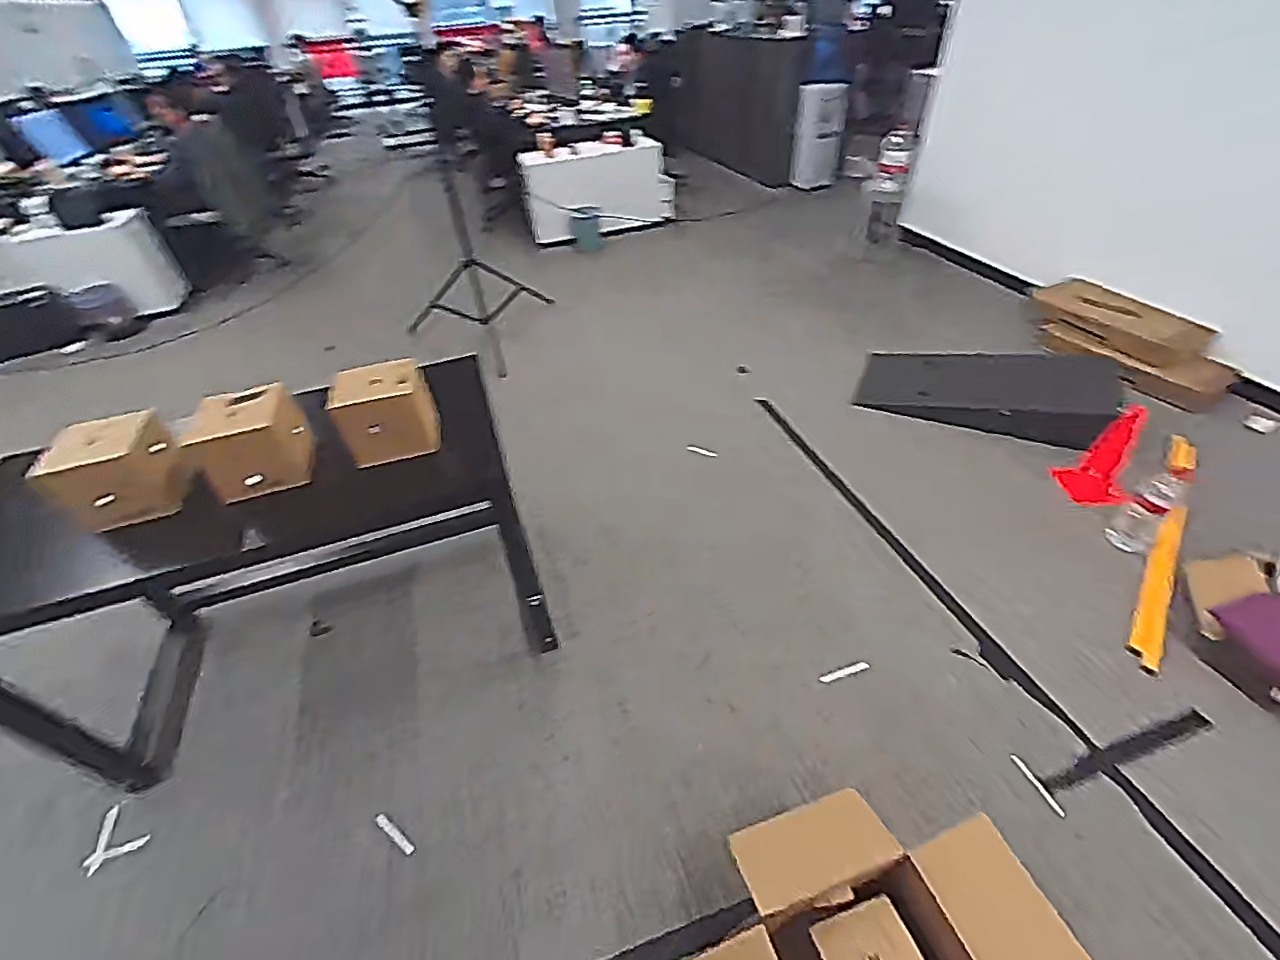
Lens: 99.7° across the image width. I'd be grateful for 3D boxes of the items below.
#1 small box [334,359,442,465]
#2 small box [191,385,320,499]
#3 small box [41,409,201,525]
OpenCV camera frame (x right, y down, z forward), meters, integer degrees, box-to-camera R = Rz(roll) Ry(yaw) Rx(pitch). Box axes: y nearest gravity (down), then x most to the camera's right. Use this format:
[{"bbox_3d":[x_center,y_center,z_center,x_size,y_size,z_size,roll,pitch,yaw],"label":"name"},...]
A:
[{"bbox_3d":[-0.581,-0.156,1.267,0.179,0.176,0.168,-14,43,-9],"label":"small box"},{"bbox_3d":[-0.848,-0.085,1.215,0.168,0.176,0.179,-15,44,-11],"label":"small box"},{"bbox_3d":[-1.101,-0.023,1.169,0.168,0.176,0.179,-15,43,-12],"label":"small box"}]
